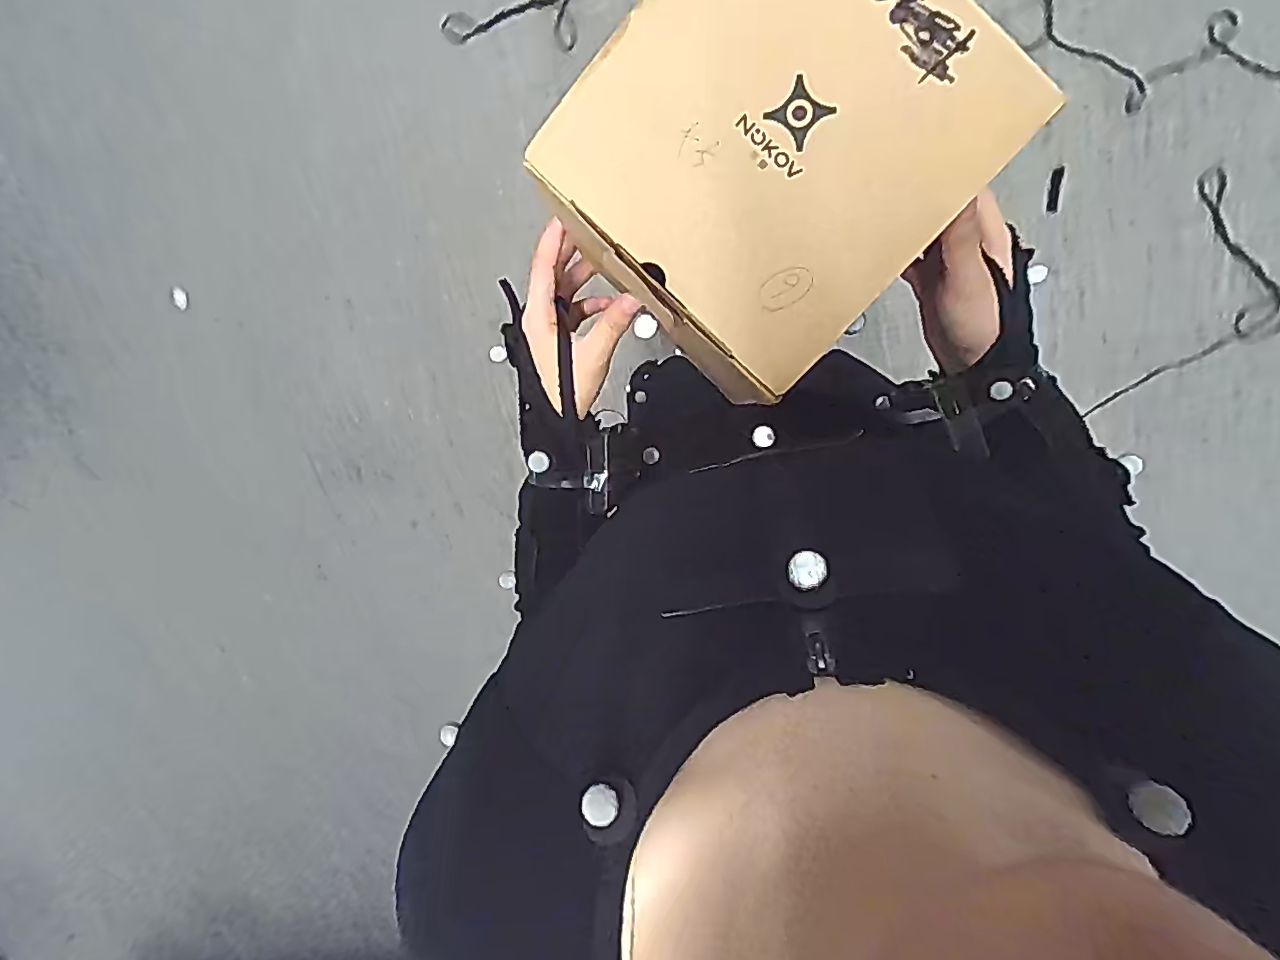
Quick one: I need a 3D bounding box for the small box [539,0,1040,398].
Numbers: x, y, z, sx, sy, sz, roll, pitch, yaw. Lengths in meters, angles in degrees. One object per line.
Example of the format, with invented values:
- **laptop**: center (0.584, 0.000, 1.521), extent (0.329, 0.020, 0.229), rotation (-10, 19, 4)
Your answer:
- **small box**: center (0.072, -0.165, 0.332), extent (0.168, 0.176, 0.179), rotation (44, 98, -2)
